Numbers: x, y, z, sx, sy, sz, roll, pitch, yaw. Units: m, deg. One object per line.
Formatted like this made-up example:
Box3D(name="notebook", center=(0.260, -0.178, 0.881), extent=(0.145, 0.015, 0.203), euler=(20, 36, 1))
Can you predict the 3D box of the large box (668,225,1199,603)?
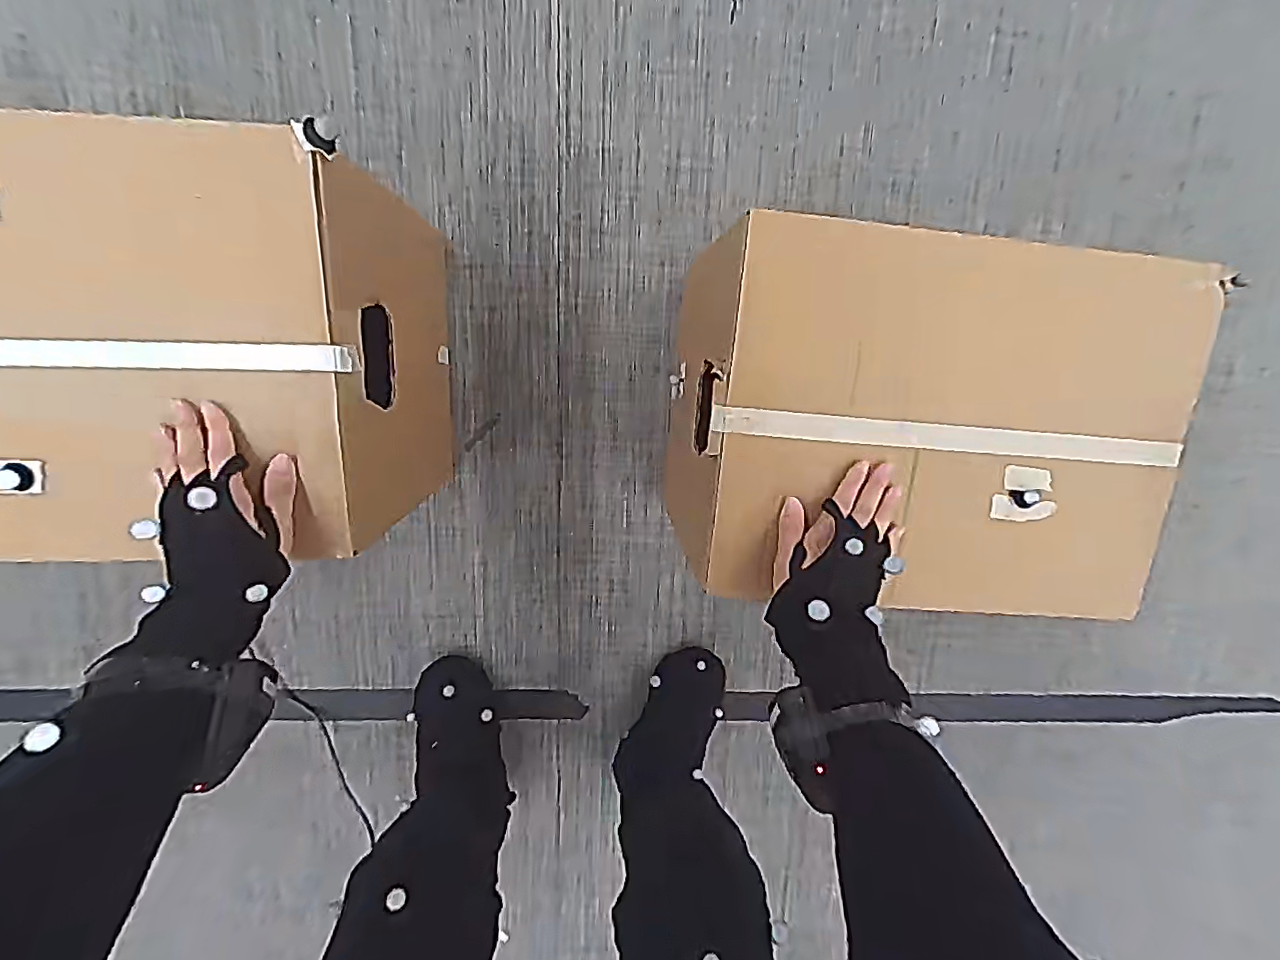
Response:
Box3D(name="large box", center=(0.257, -0.070, 0.615), extent=(0.408, 0.320, 0.320), euler=(4, 102, -6))
